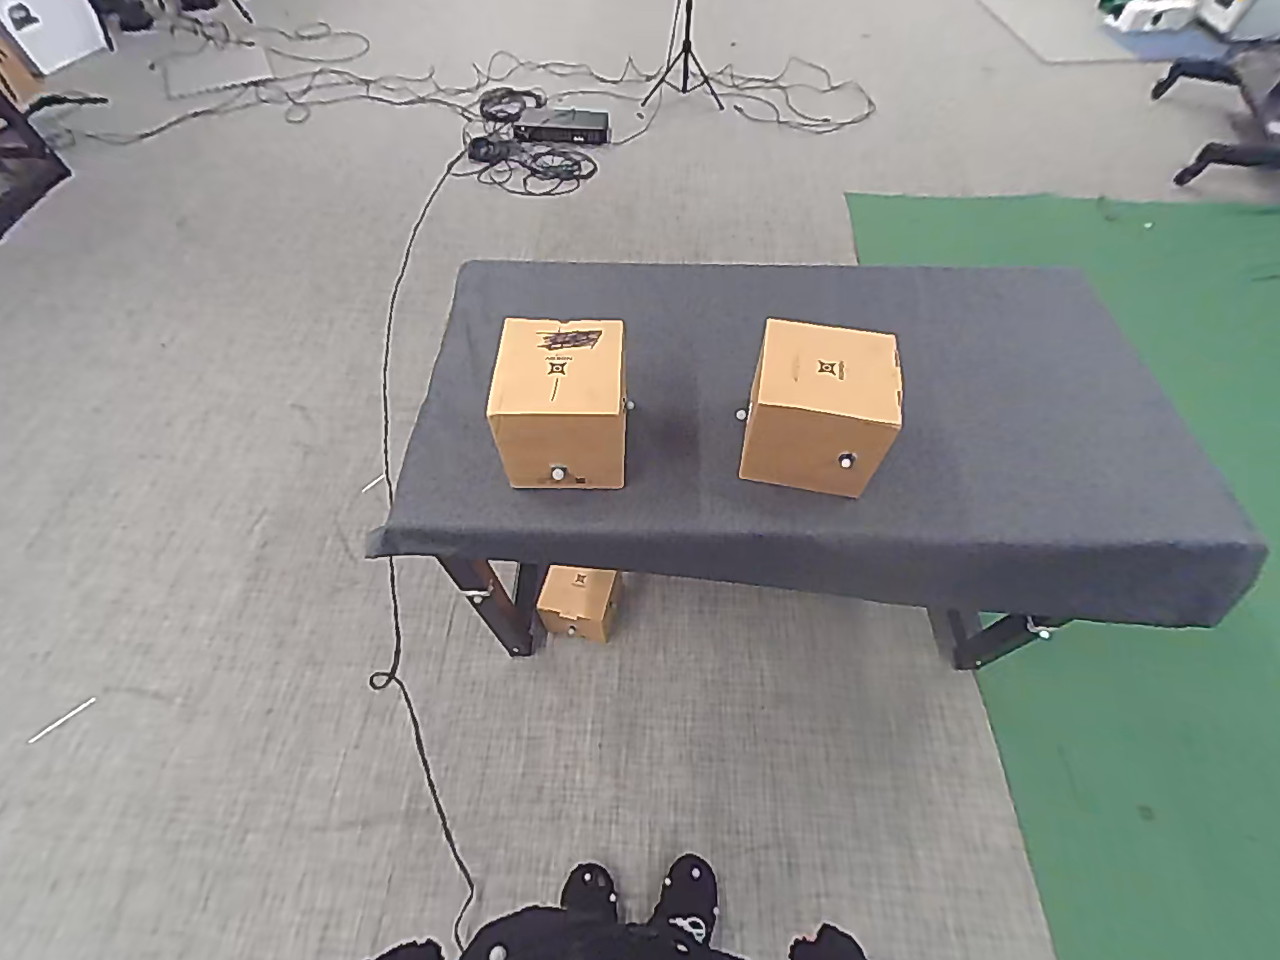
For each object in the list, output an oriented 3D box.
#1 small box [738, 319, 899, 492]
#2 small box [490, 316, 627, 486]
[{"bbox_3d":[0.246,-0.101,0.774,0.179,0.176,0.168,9,56,7],"label":"small box"},{"bbox_3d":[-0.103,-0.111,0.773,0.168,0.176,0.179,1,56,0],"label":"small box"}]
